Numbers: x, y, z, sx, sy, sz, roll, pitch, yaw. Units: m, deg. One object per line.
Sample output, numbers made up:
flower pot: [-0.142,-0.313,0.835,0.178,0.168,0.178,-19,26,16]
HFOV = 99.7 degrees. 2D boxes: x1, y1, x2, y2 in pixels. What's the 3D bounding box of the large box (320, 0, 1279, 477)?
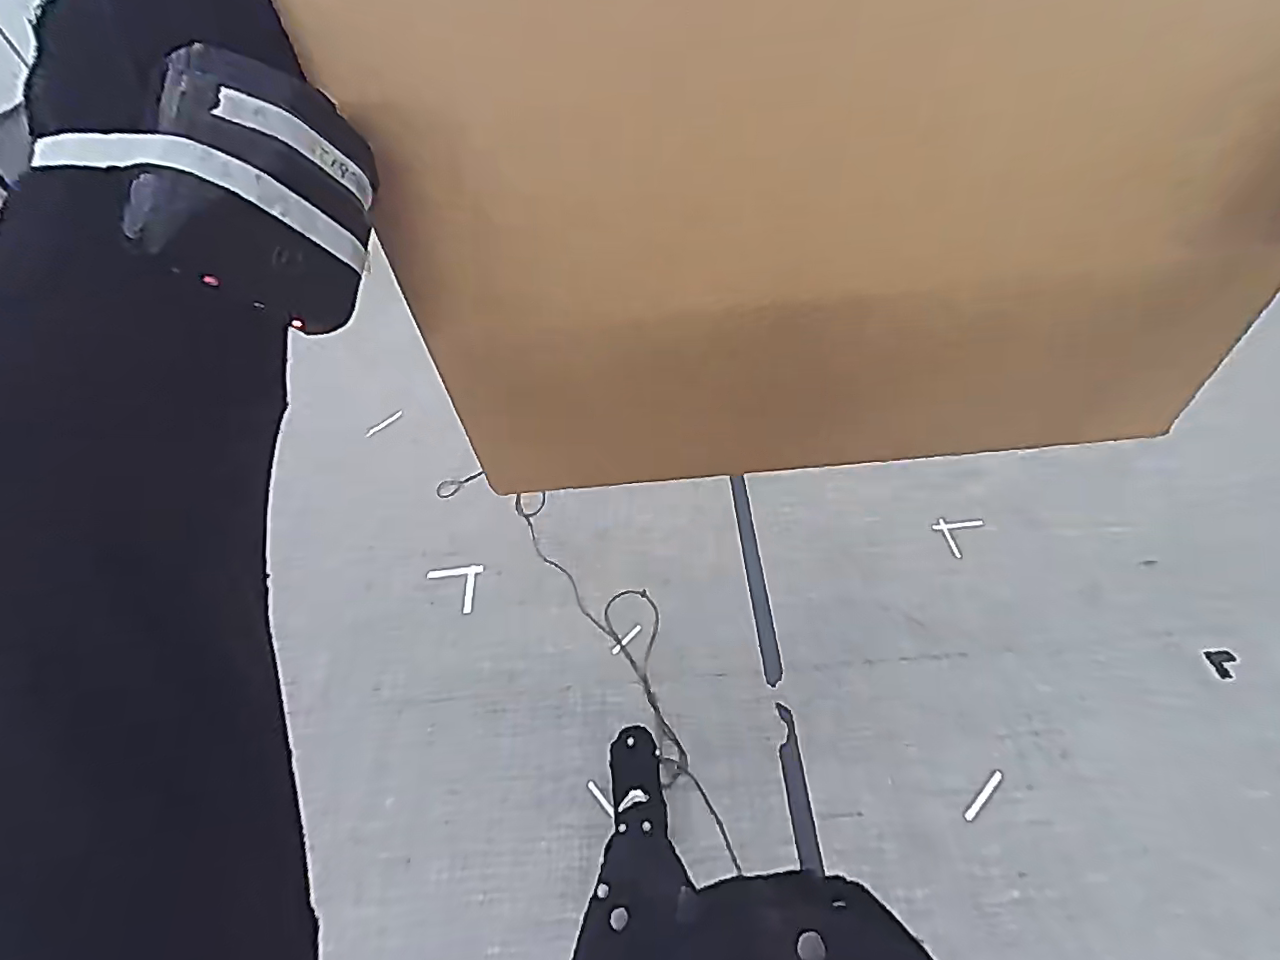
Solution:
large box: [0.085,-0.228,0.341,0.408,0.320,0.320,-5,46,2]
